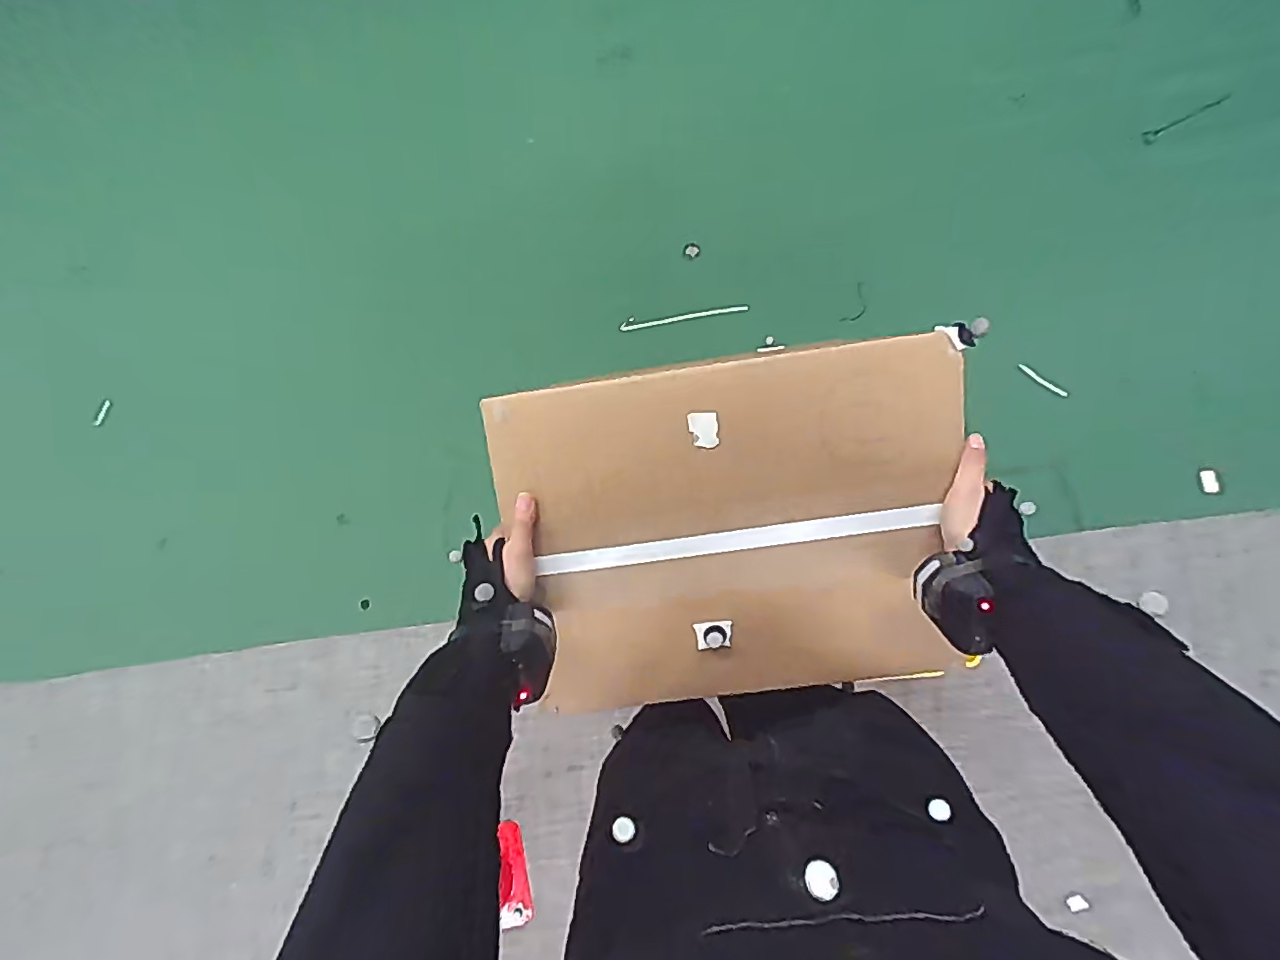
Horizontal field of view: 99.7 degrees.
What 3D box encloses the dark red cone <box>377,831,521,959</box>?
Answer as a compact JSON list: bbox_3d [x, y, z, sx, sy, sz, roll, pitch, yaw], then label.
[{"bbox_3d":[-0.373,0.809,0.957,0.202,0.394,0.201,-16,75,5],"label":"dark red cone"}]
